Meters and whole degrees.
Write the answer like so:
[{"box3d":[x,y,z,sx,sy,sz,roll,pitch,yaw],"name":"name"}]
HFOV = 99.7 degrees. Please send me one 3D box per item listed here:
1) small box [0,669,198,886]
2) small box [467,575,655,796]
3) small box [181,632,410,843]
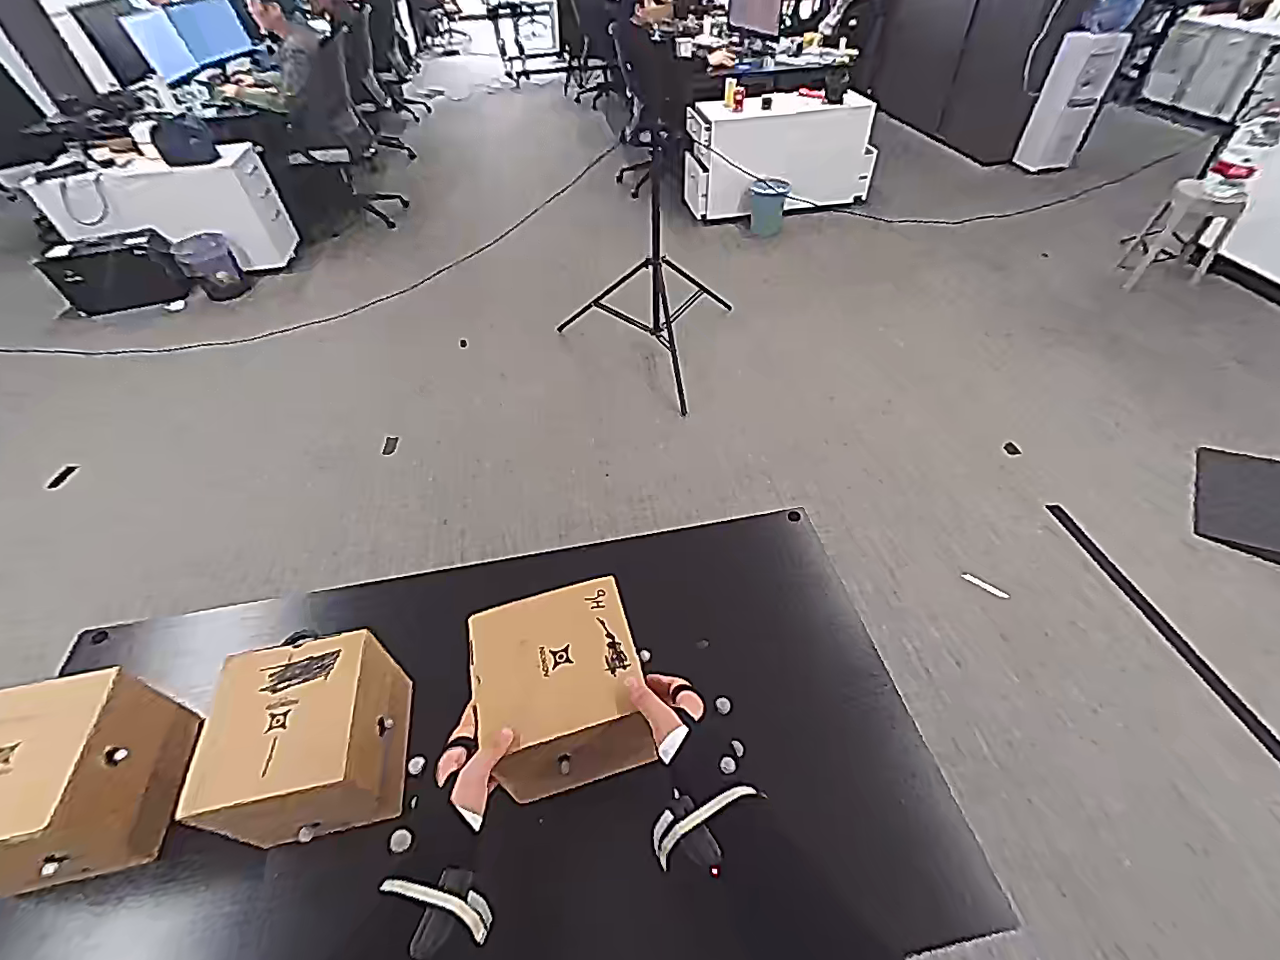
[{"box3d":[-0.681,0.357,0.643,0.168,0.176,0.179,-10,47,-8],"name":"small box"},{"box3d":[-0.089,0.244,0.637,0.179,0.176,0.168,-15,47,-7],"name":"small box"},{"box3d":[-0.397,0.317,0.667,0.168,0.176,0.179,-10,48,-7],"name":"small box"}]
